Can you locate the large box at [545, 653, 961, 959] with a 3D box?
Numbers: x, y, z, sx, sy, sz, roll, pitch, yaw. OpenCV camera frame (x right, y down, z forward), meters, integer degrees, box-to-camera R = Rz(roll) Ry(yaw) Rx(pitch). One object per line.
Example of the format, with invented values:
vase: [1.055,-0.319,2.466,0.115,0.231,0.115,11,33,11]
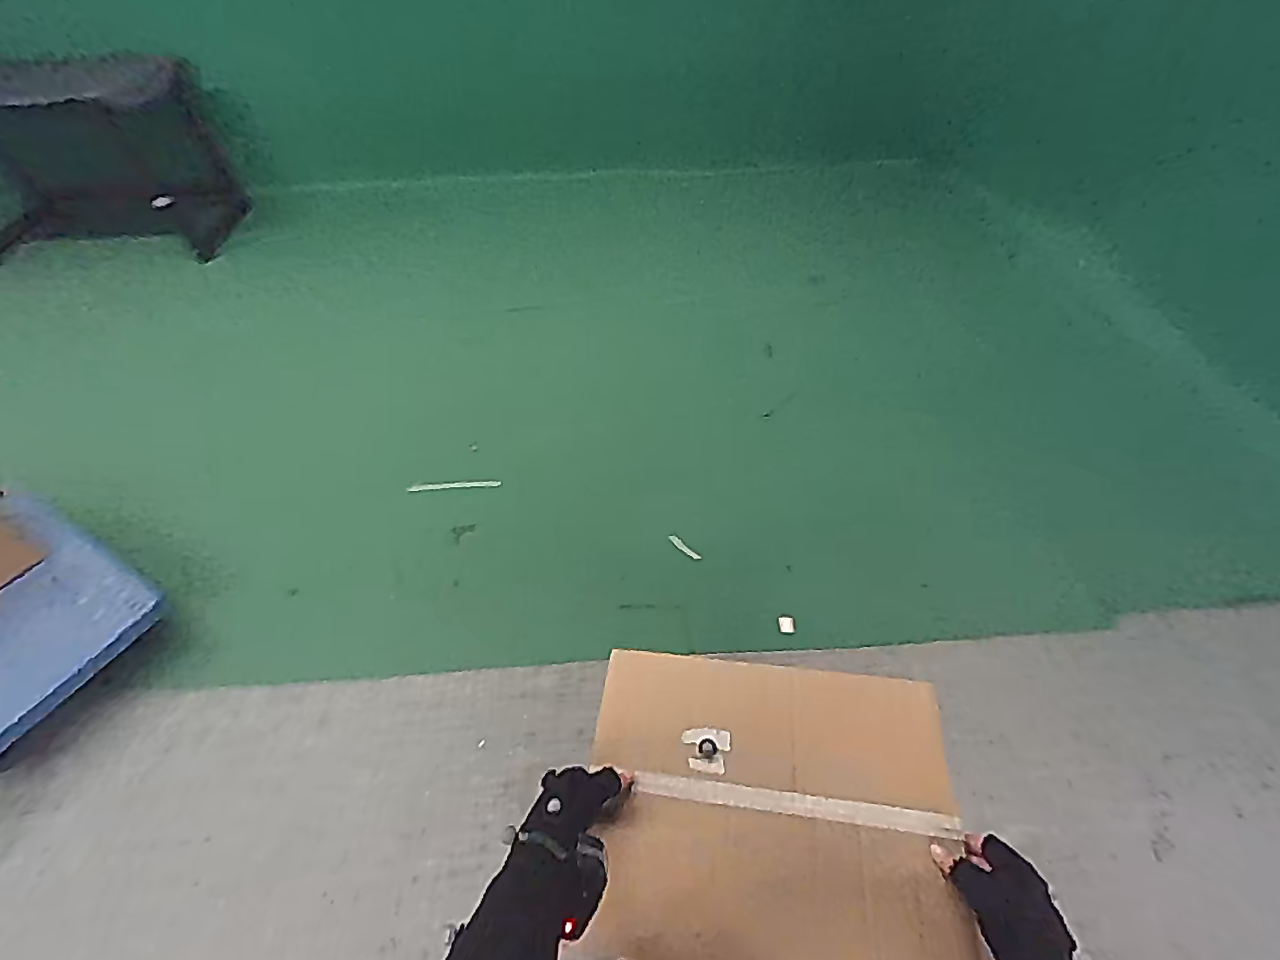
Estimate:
large box: [0.138,0.447,0.716,0.408,0.320,0.320,2,52,11]
